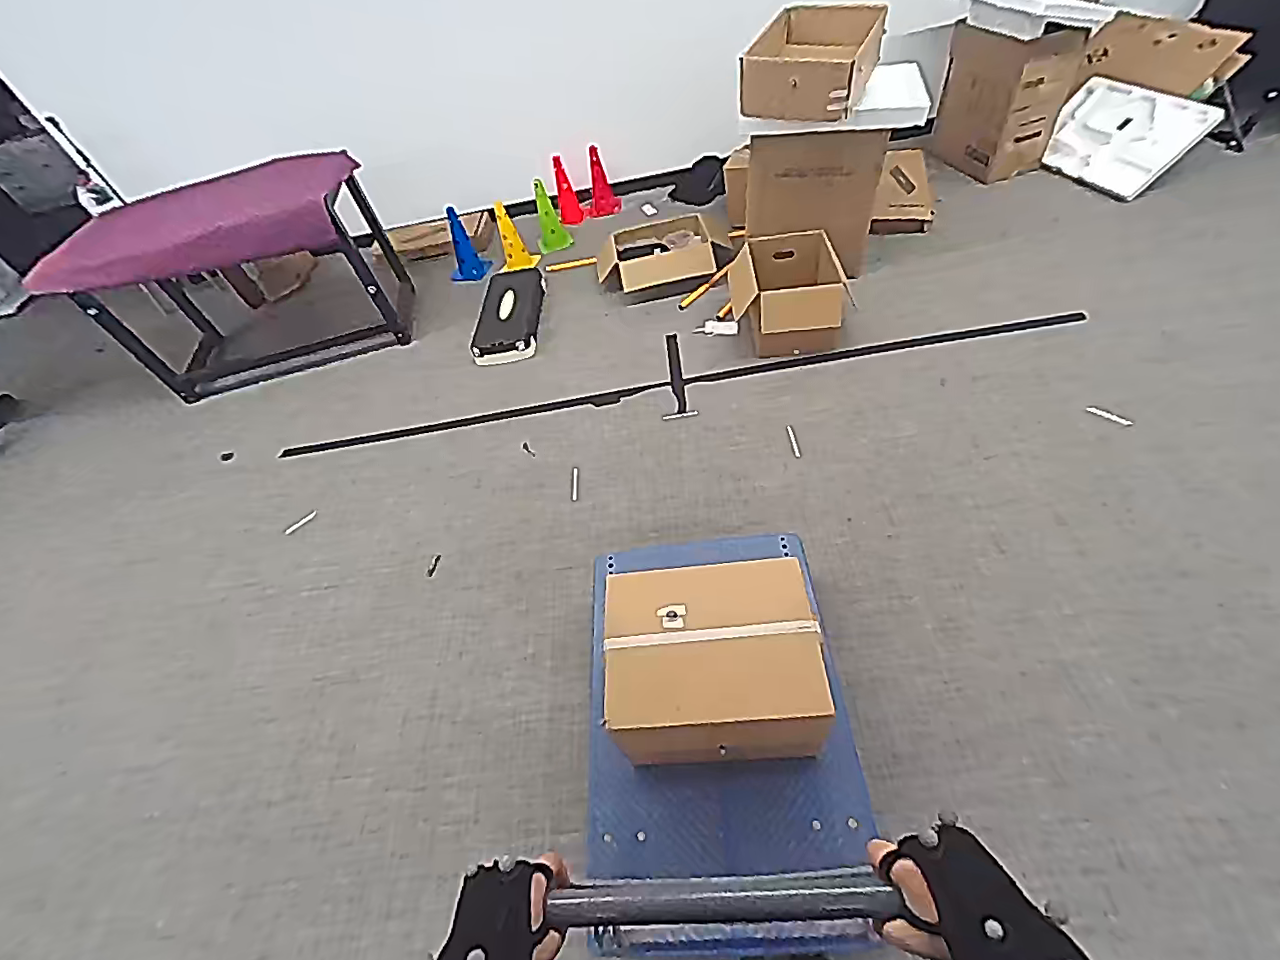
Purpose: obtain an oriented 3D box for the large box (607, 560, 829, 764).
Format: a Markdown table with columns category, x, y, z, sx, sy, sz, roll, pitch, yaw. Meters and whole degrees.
| category | x | y | z | sx | sy | sz | roll | pitch | yaw |
| --- | --- | --- | --- | --- | --- | --- | --- | --- | --- |
| large box | 0.158 | 0.405 | 1.171 | 0.408 | 0.320 | 0.320 | -8 | 50 | 7 |
